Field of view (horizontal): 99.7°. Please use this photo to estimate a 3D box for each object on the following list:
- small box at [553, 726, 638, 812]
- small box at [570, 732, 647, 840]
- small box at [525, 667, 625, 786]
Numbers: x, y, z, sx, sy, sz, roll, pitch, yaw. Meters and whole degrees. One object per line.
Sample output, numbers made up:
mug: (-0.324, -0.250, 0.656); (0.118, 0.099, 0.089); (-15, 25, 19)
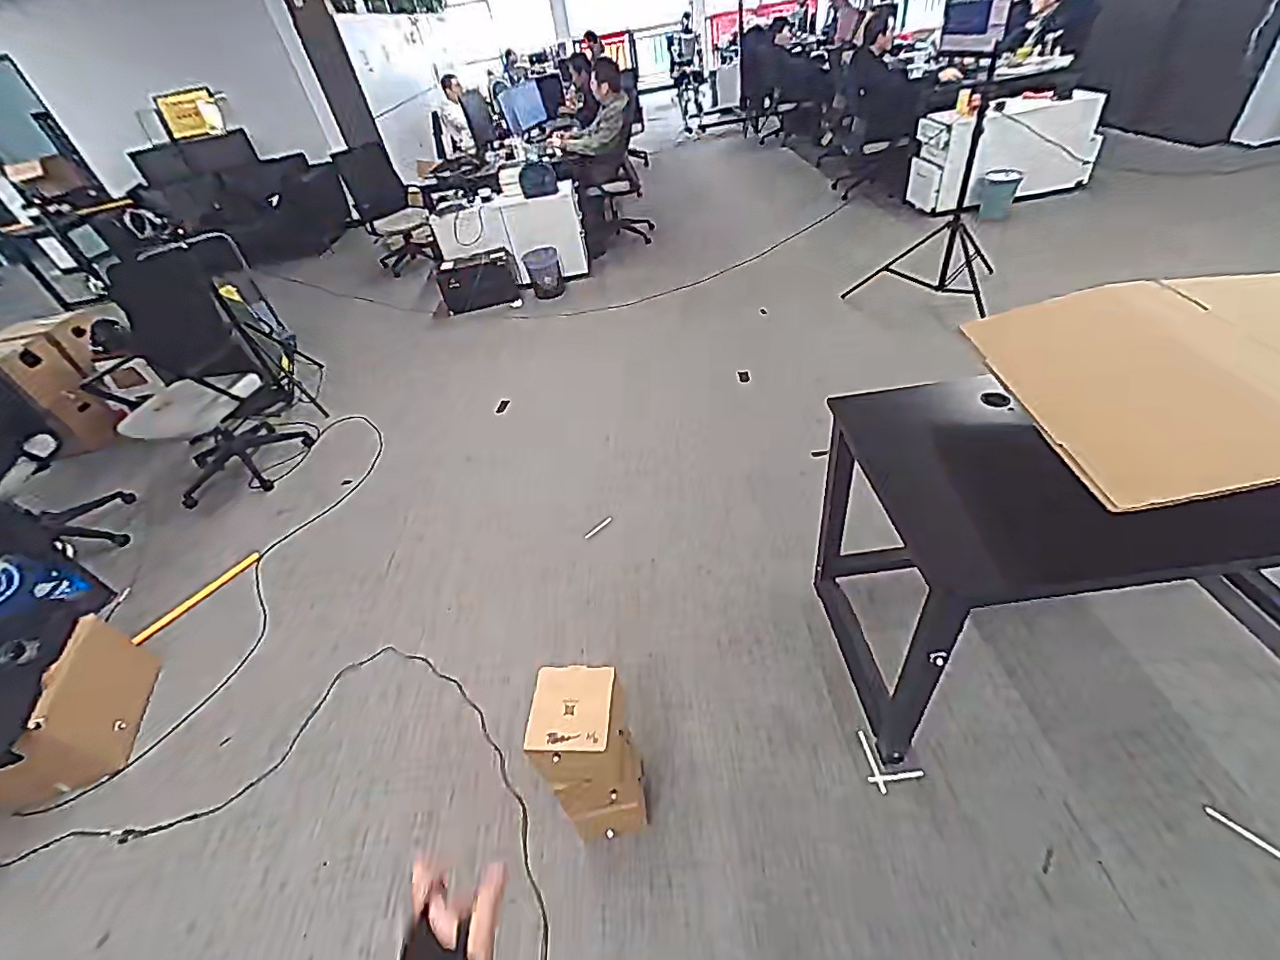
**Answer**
small box: (-0.107, 0.644, 1.255); (0.168, 0.176, 0.179); (-12, 39, -3)
small box: (-0.080, 0.768, 1.356); (0.168, 0.176, 0.179); (-11, 42, 0)
small box: (-0.127, 0.521, 1.148); (0.168, 0.176, 0.179); (-4, 40, 8)
